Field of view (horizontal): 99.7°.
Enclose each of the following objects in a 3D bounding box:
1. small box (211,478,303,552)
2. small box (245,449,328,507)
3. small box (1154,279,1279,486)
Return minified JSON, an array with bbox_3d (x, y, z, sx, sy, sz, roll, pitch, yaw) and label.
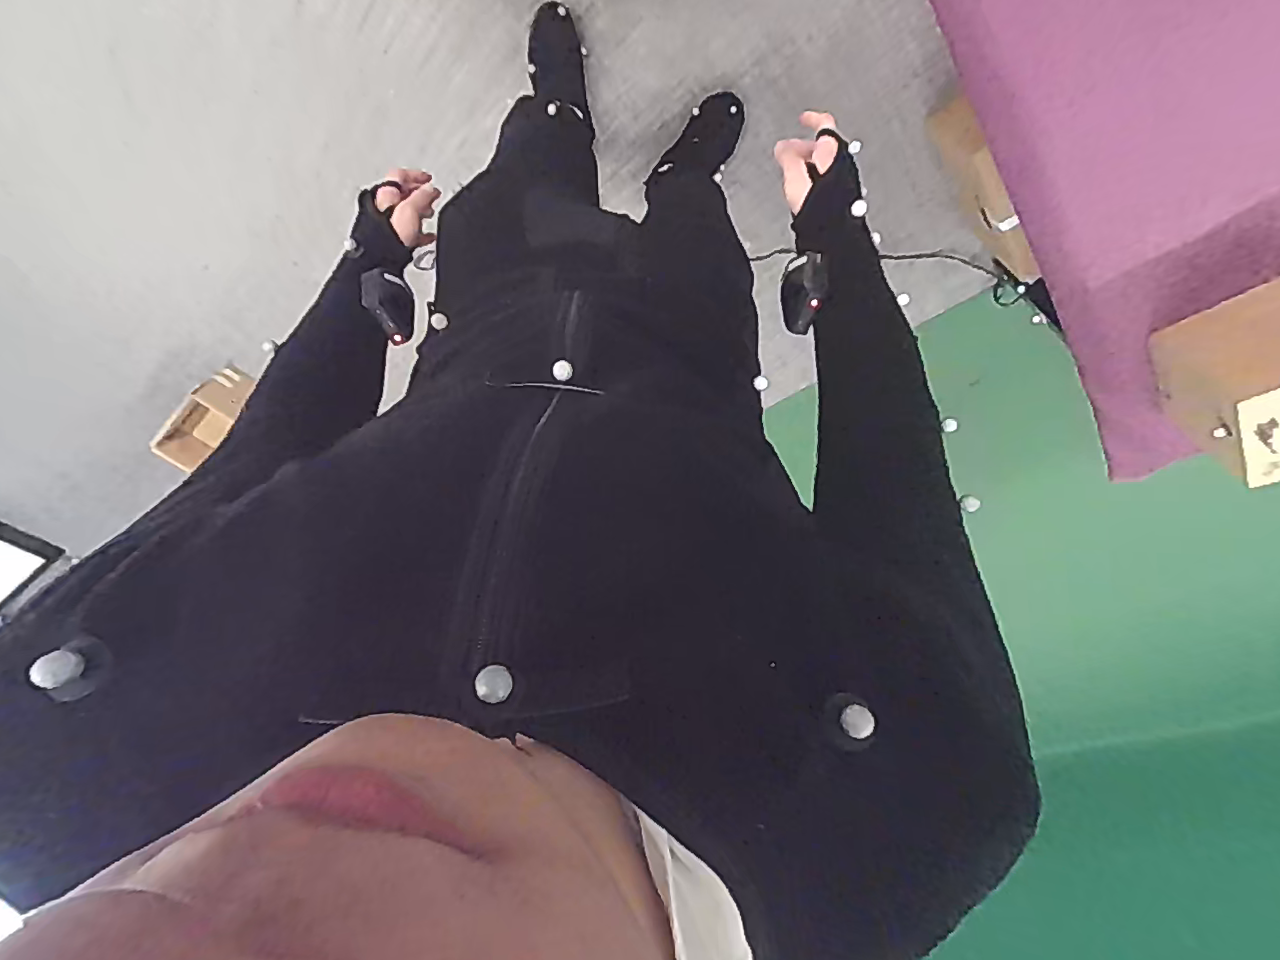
[{"bbox_3d":[-1.344,0.122,1.911,0.179,0.176,0.168,-21,125,24],"label":"small box"},{"bbox_3d":[-1.321,0.014,2.031,0.179,0.176,0.168,-25,122,26],"label":"small box"},{"bbox_3d":[0.805,-0.131,0.672,0.179,0.176,0.168,-29,122,27],"label":"small box"}]
